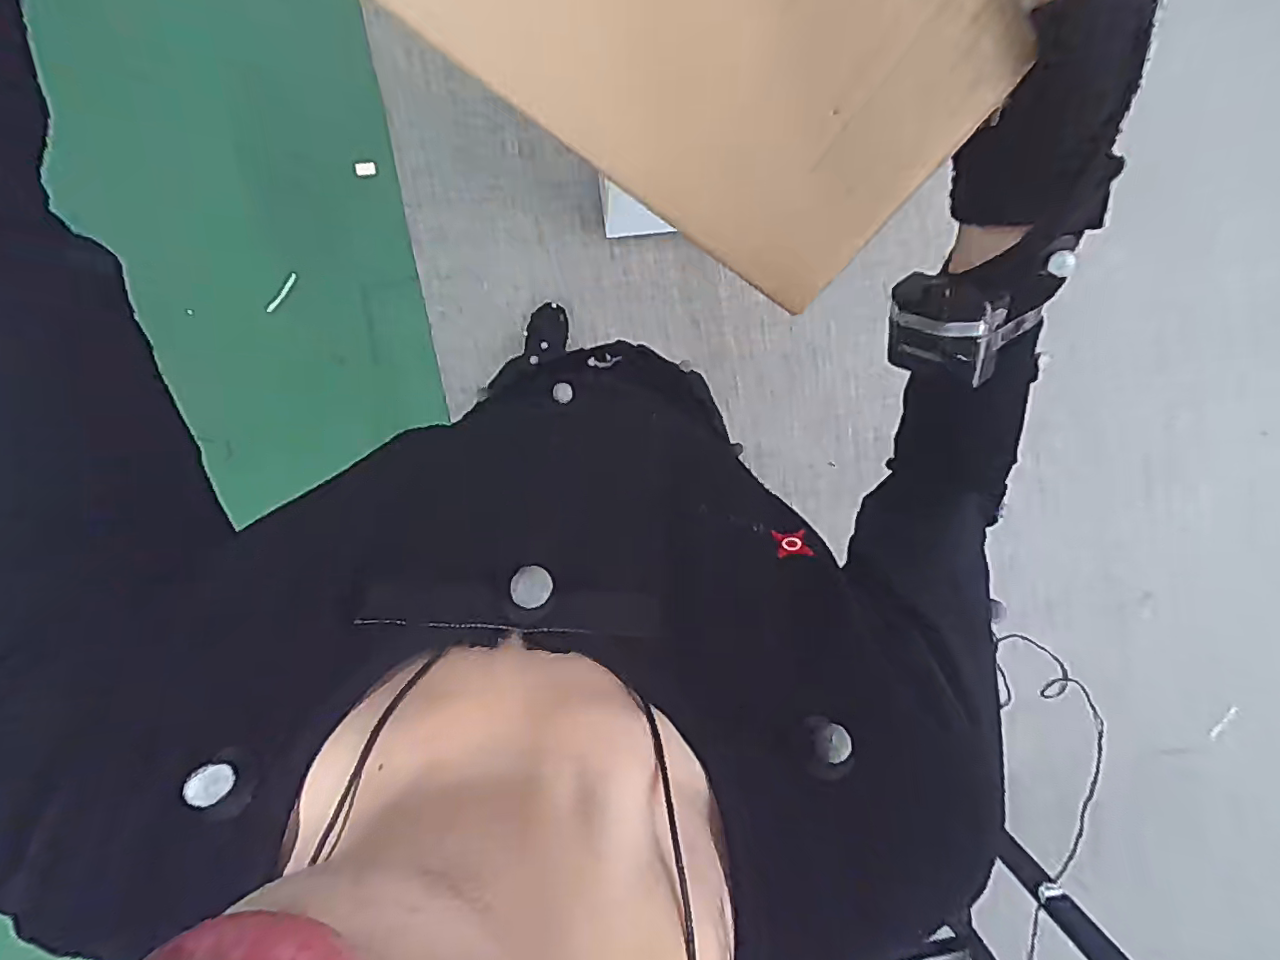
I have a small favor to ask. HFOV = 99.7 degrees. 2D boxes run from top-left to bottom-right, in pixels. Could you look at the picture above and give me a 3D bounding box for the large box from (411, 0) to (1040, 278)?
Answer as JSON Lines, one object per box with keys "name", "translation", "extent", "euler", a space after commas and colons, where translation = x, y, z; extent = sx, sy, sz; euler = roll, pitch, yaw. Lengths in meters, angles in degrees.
{"name": "large box", "translation": [0.021, -0.389, 0.270], "extent": [0.408, 0.320, 0.320], "euler": [30, 127, -18]}
